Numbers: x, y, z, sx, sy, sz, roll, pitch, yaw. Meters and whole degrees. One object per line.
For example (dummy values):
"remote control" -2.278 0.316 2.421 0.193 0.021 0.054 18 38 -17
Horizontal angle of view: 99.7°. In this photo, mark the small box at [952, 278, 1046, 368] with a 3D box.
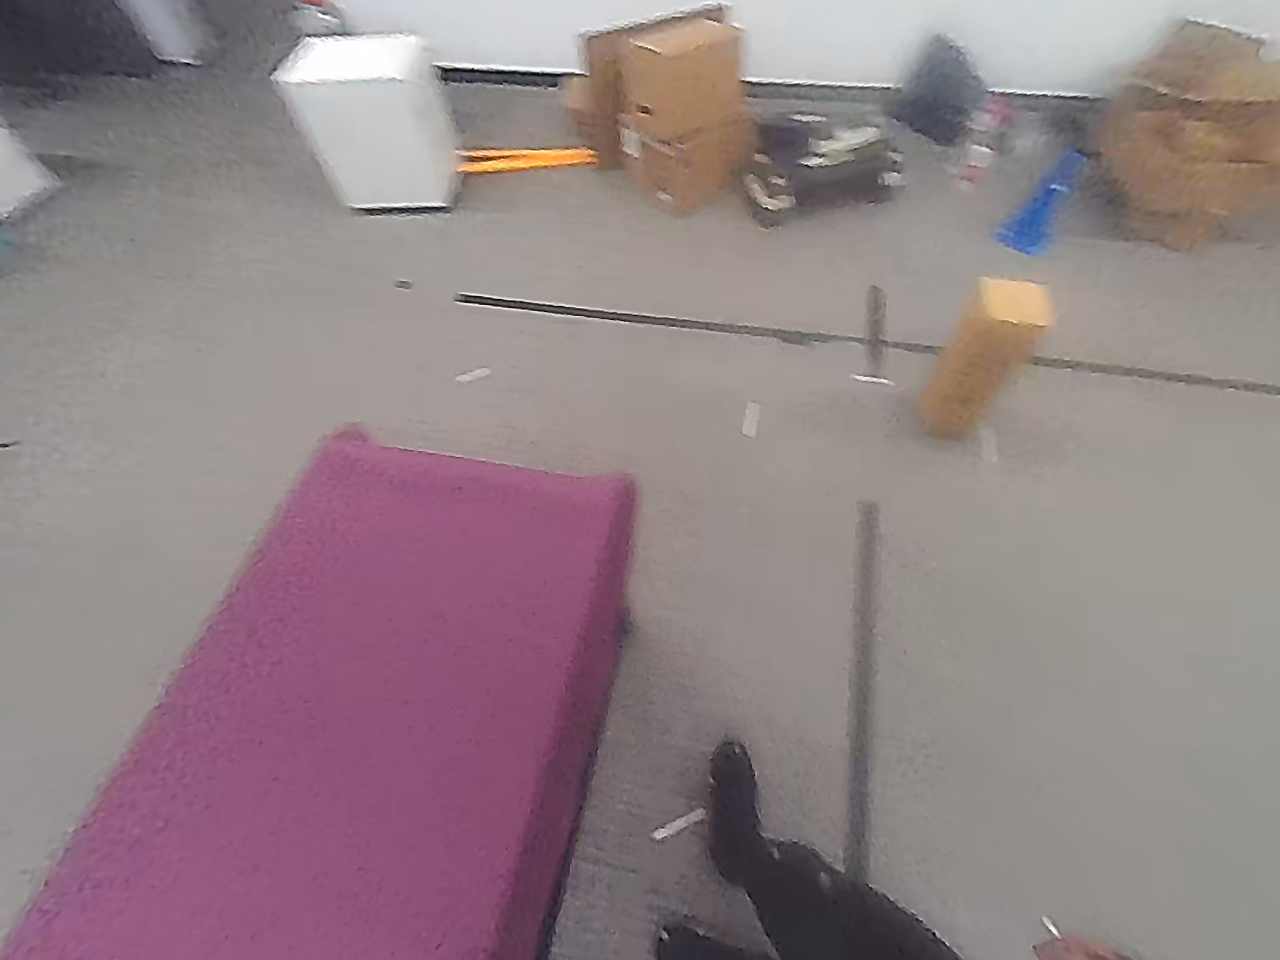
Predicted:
"small box" 1.030 -0.453 1.569 0.168 0.176 0.179 10 60 8

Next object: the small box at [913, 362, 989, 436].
"small box" 1.050 -0.276 1.844 0.168 0.176 0.179 7 60 7
